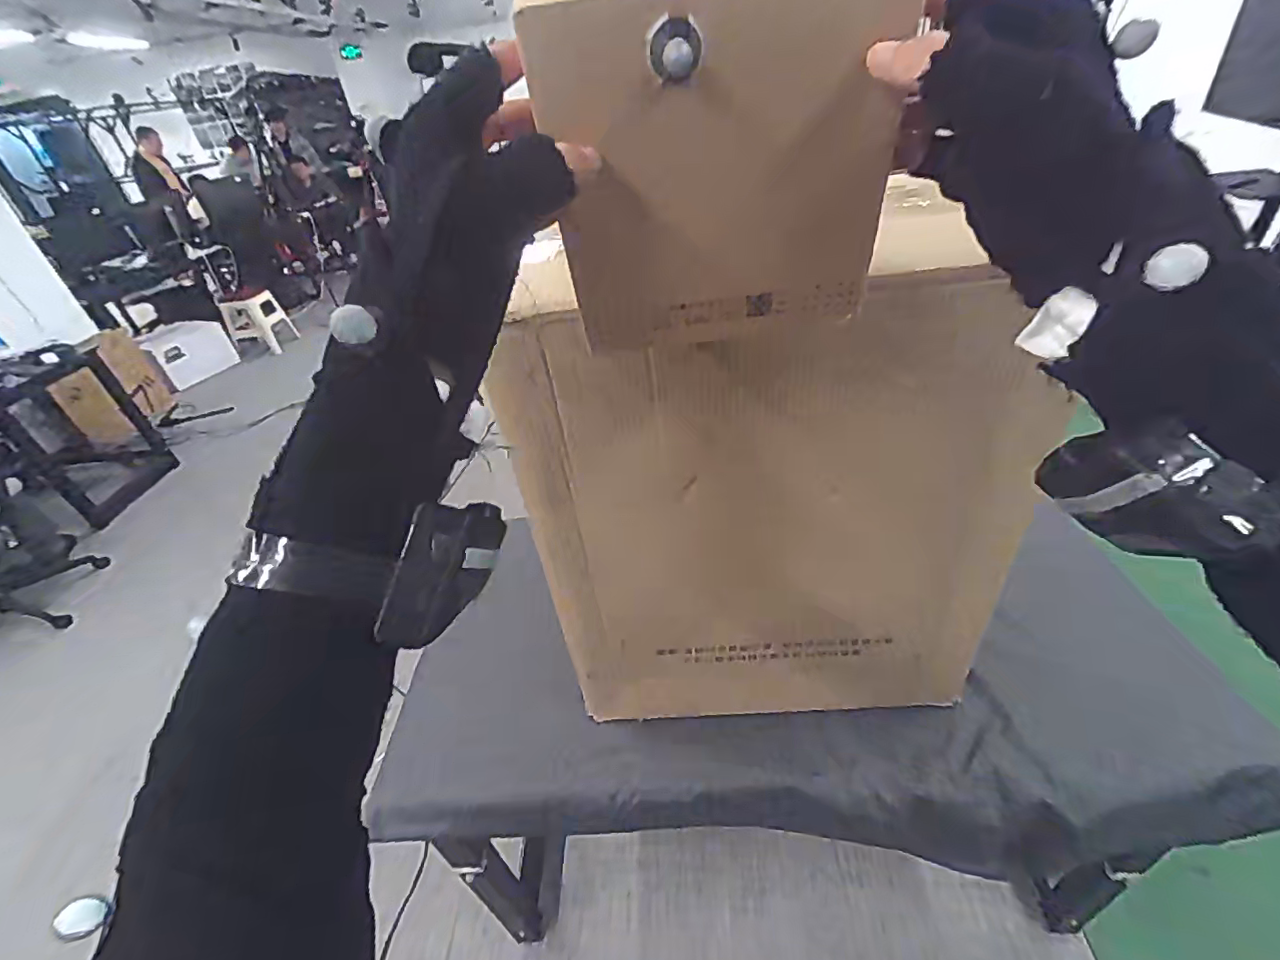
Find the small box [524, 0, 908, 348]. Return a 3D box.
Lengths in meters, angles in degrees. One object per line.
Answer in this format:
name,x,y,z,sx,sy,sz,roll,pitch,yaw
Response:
small box,0.039,-0.206,0.339,0.168,0.176,0.179,-6,47,5
